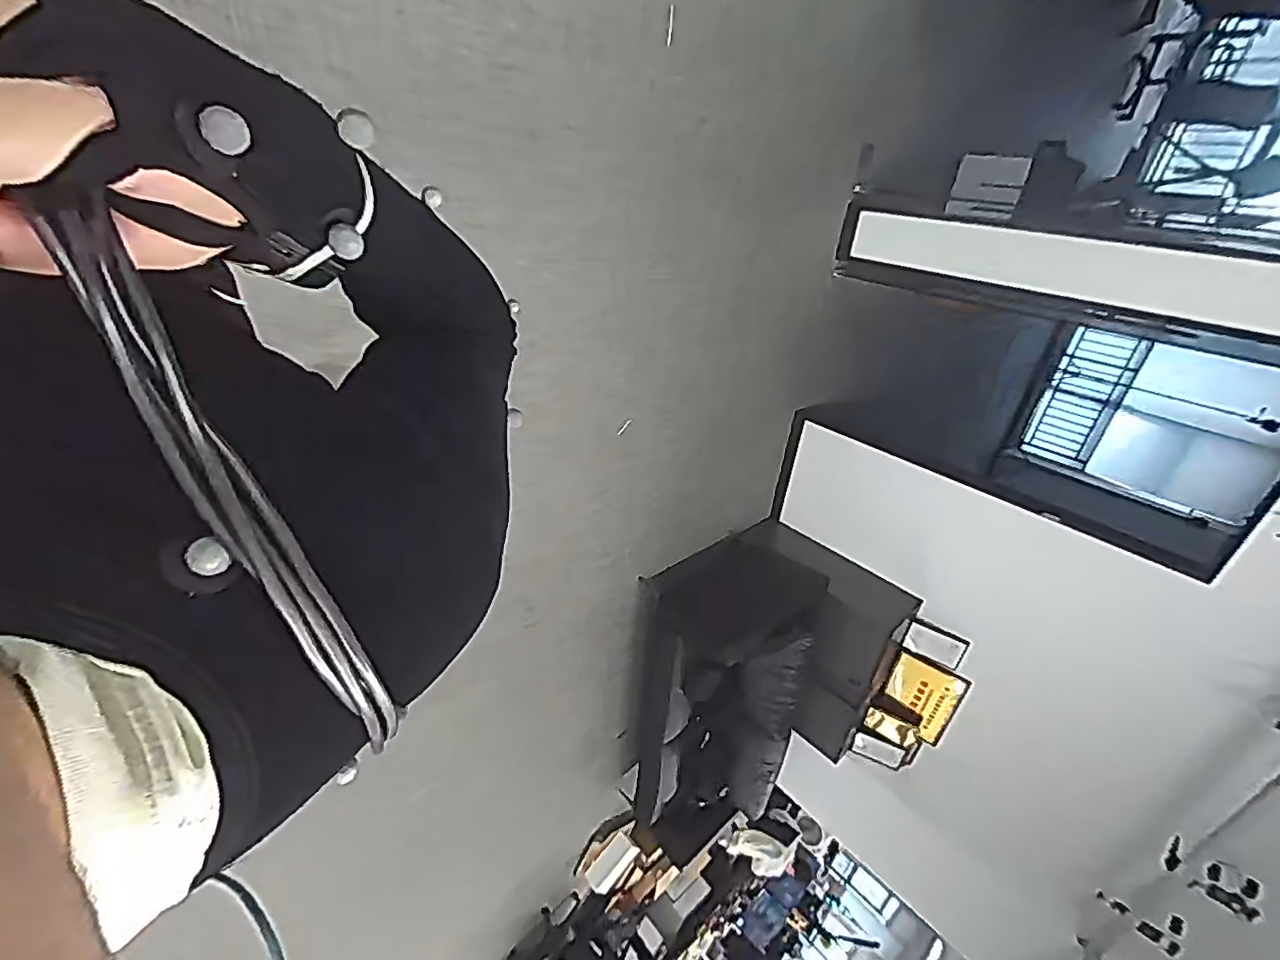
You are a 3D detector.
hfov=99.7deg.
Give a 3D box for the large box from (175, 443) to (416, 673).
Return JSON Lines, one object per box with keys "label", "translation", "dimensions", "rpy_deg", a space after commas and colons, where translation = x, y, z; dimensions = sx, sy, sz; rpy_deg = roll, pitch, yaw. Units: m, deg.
{"label": "large box", "translation": [-0.835, 0.186, 1.344], "dimensions": [0.320, 0.320, 0.408], "rpy_deg": [-34, 138, -29]}
